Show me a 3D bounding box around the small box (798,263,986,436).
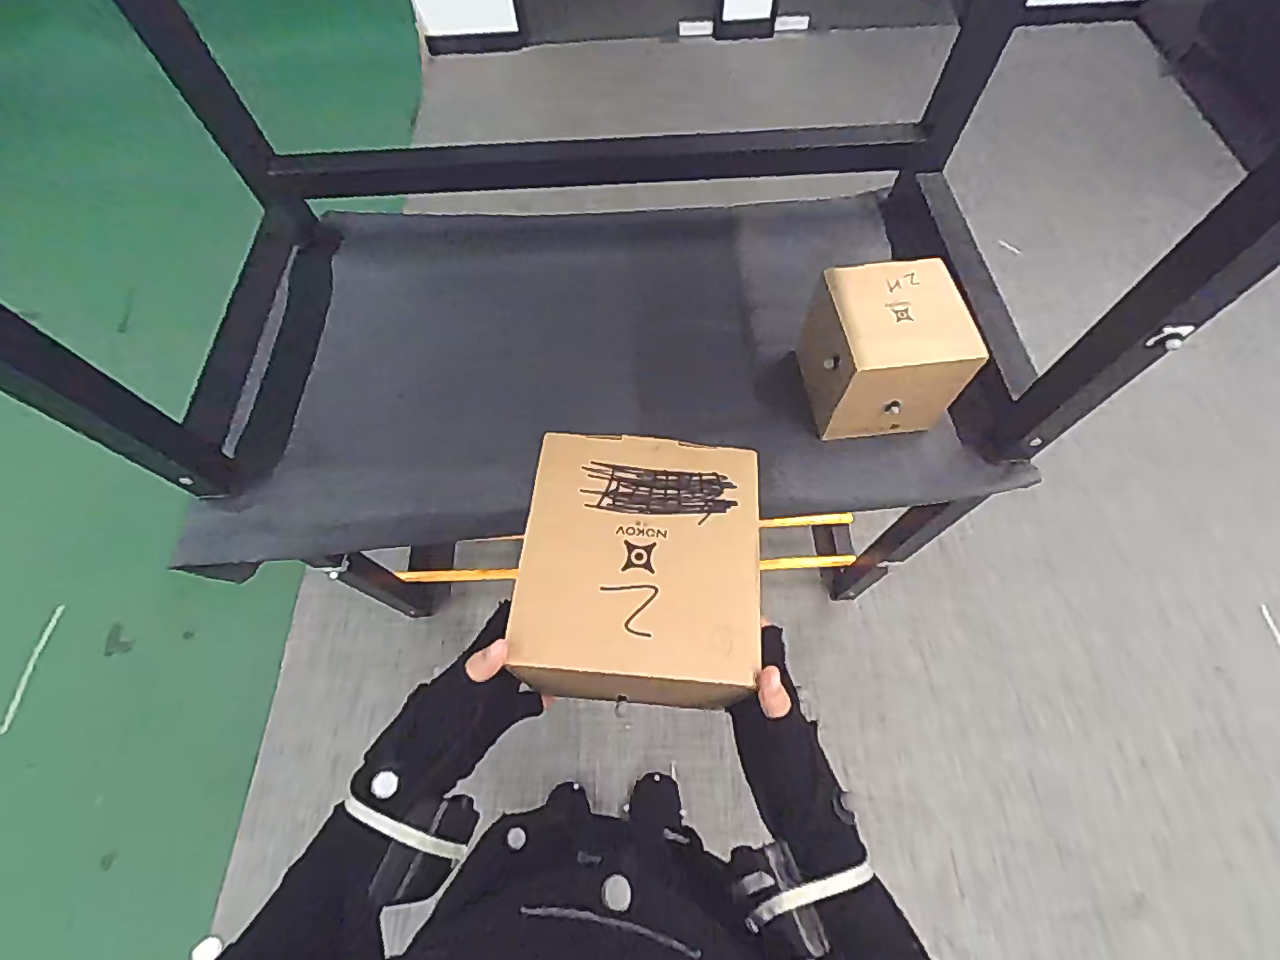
[{"bbox_3d":[0.338,-0.174,0.767,0.168,0.176,0.179,-6,63,-1],"label":"small box"}]
